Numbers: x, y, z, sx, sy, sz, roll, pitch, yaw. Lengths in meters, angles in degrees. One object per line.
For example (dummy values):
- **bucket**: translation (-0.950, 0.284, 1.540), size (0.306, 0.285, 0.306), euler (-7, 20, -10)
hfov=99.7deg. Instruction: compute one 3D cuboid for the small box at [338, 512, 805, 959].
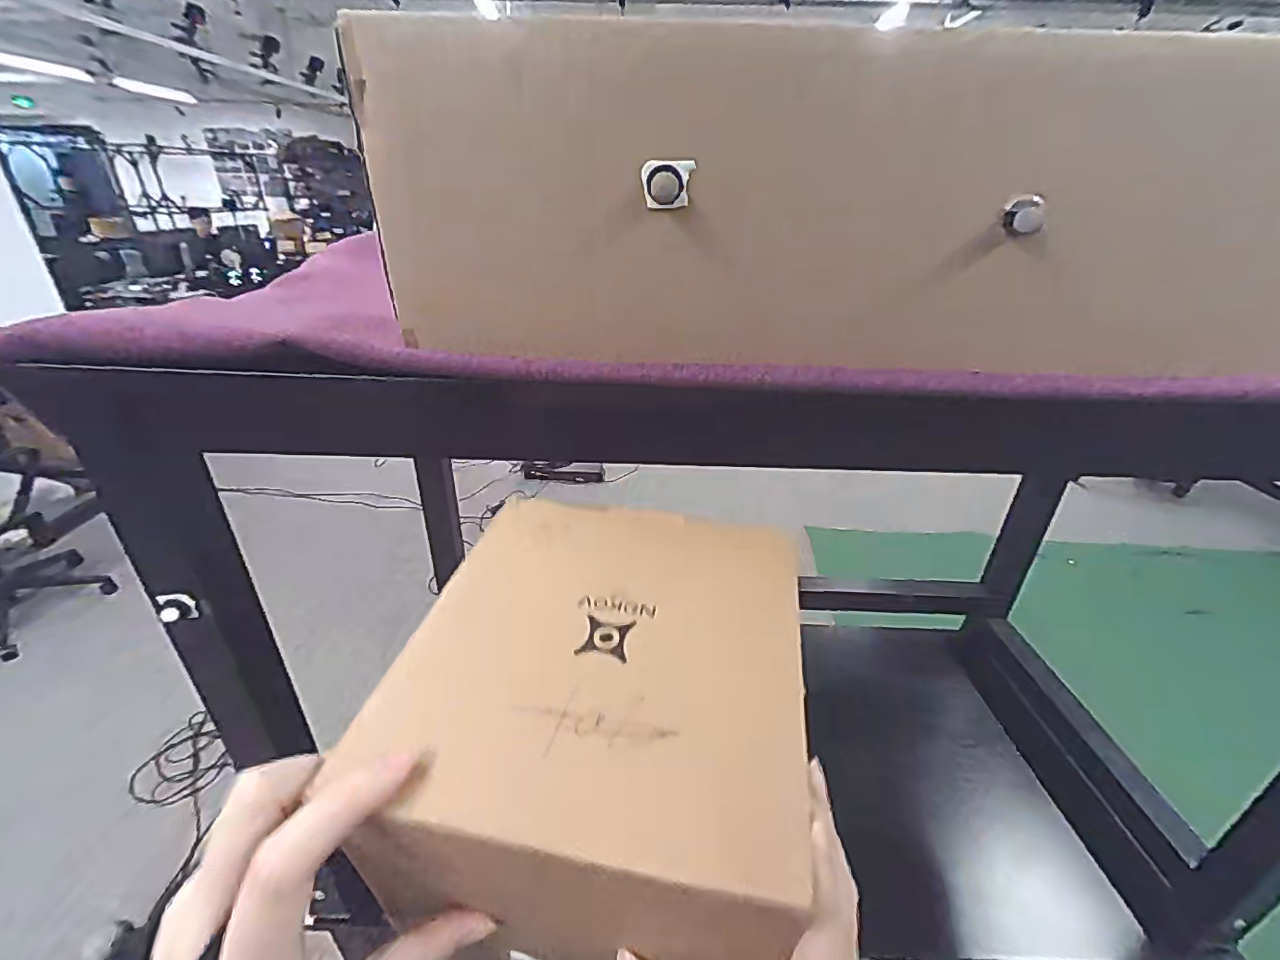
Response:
- **small box**: translation (-0.011, 0.141, 0.288), size (0.168, 0.176, 0.179), euler (5, 35, 10)
